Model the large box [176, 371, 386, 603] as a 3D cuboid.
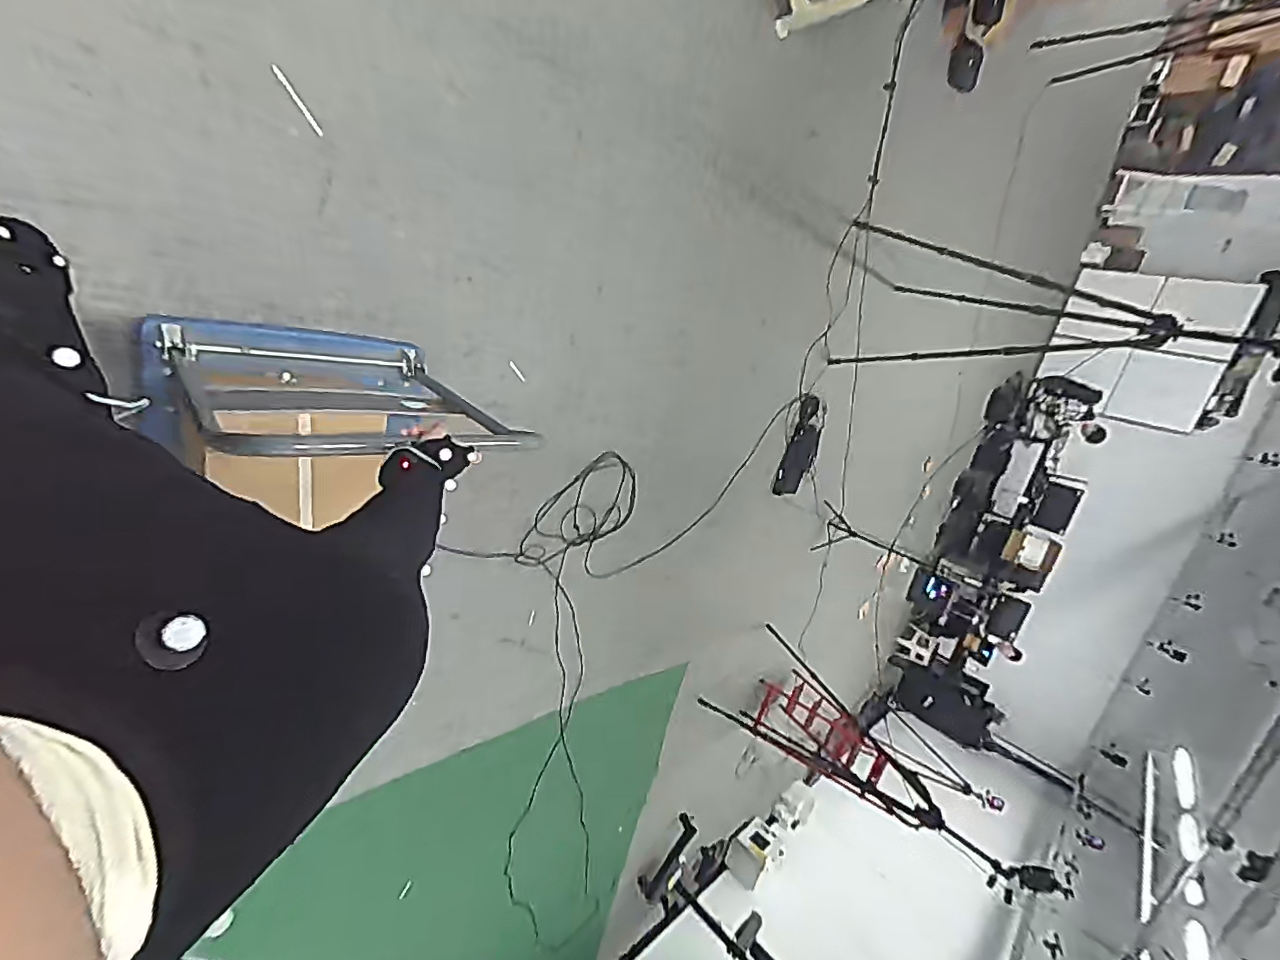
[{"bbox_3d":[-0.783,-0.011,1.193,0.320,0.320,0.408,-8,116,-45],"label":"large box"}]
